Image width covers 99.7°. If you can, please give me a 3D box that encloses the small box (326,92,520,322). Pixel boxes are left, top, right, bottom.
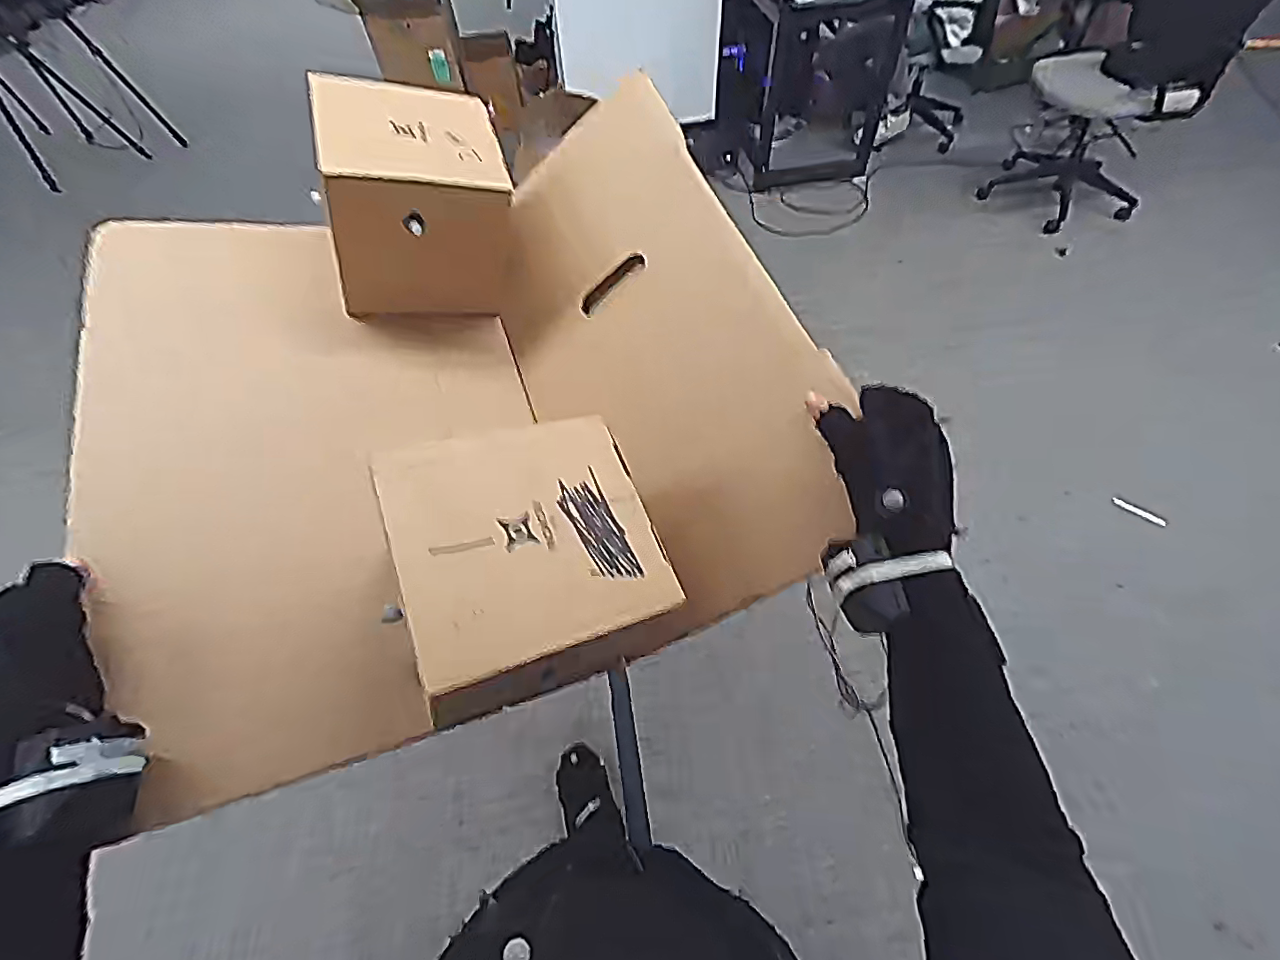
[{"bbox_3d":[-0.247,-0.300,0.622,0.179,0.176,0.168,-6,62,-24],"label":"small box"}]
